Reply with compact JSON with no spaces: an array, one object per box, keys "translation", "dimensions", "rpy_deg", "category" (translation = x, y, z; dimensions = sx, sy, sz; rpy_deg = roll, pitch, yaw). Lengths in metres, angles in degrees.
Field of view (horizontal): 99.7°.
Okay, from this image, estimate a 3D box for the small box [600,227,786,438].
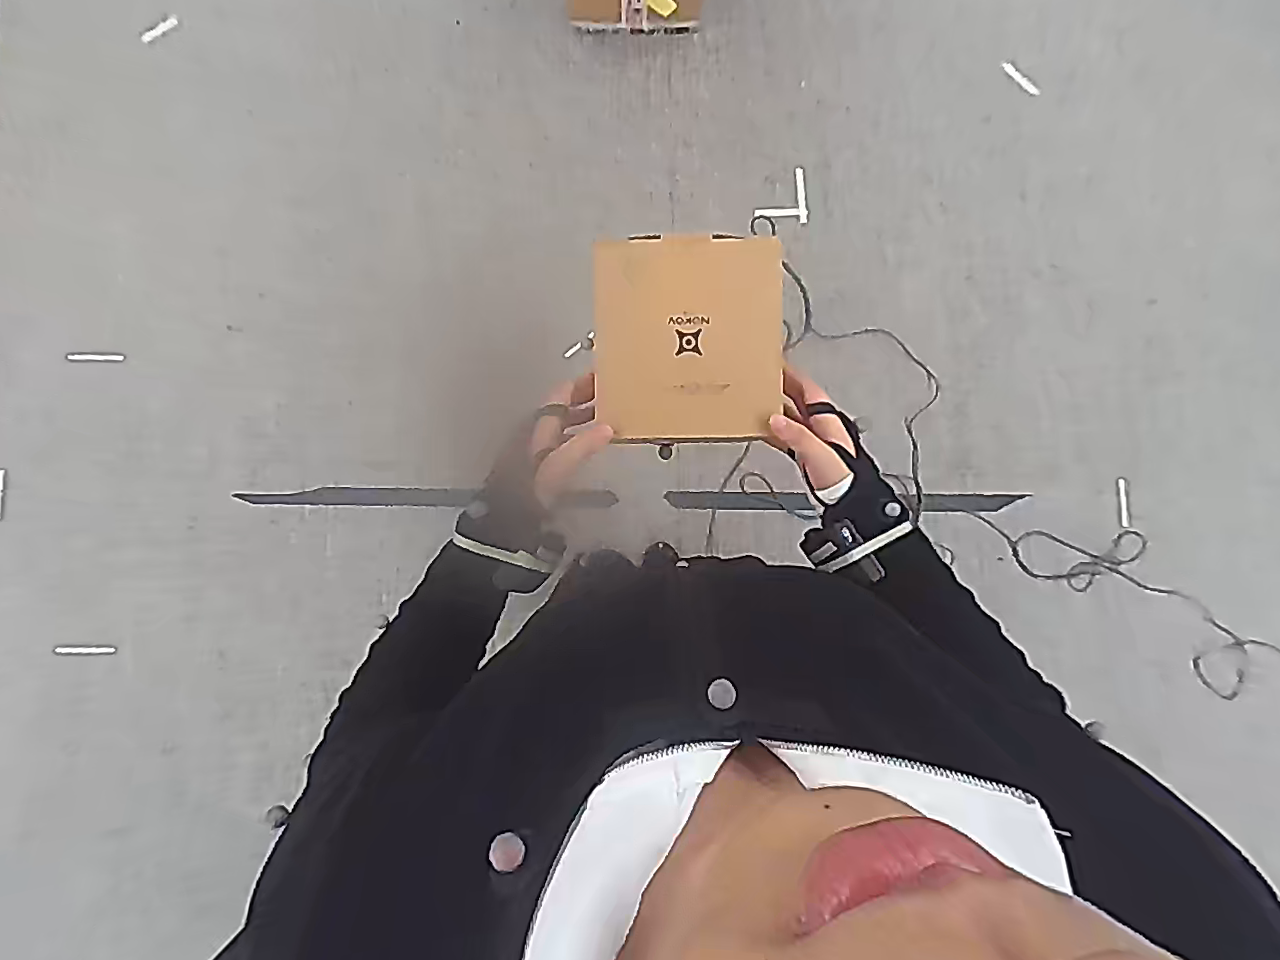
[{"translation":[0.044,-0.135,0.550],"dimensions":[0.168,0.176,0.179],"rpy_deg":[-1,93,-1],"category":"small box"}]
